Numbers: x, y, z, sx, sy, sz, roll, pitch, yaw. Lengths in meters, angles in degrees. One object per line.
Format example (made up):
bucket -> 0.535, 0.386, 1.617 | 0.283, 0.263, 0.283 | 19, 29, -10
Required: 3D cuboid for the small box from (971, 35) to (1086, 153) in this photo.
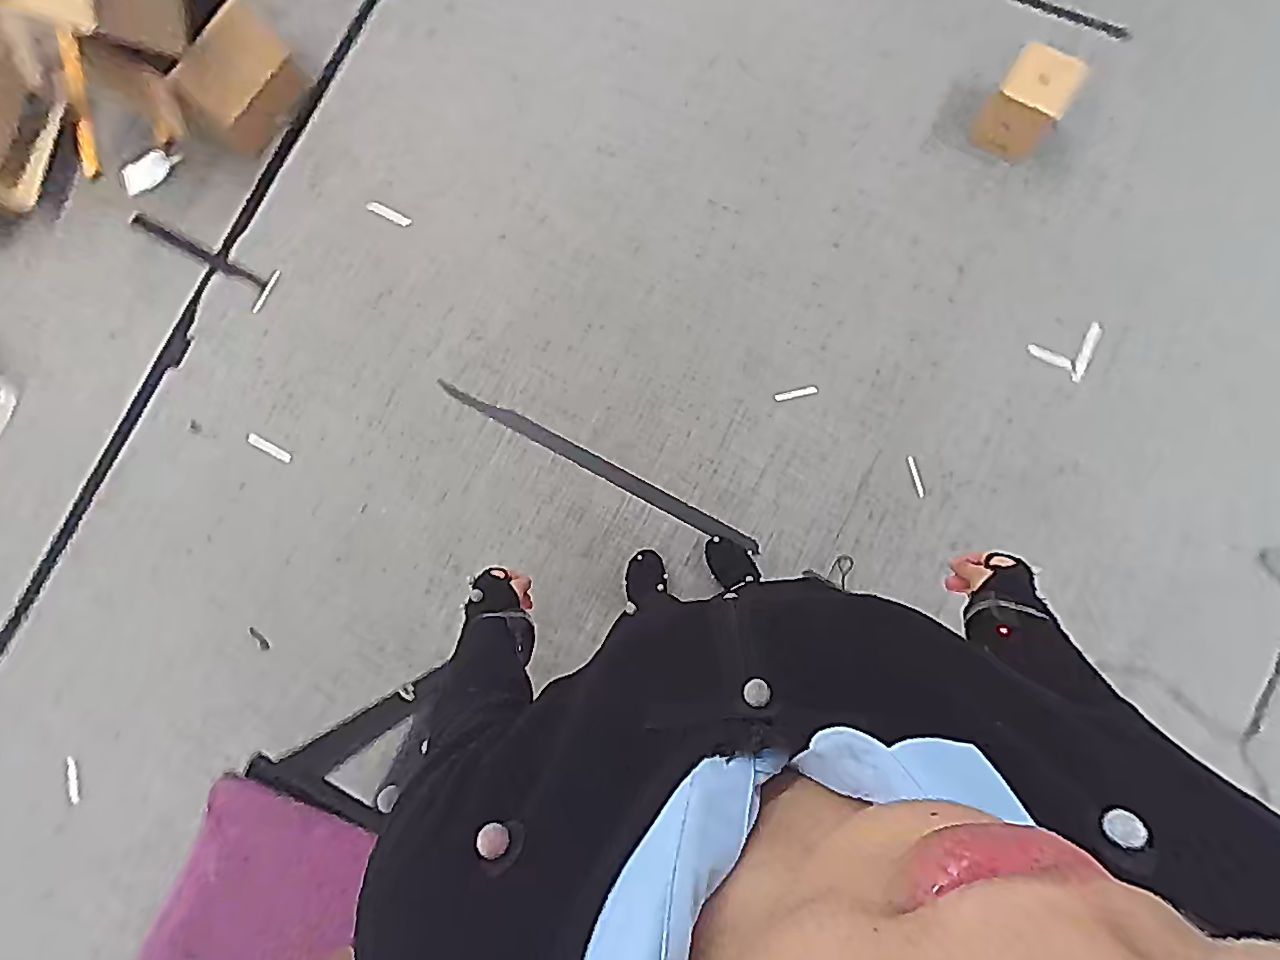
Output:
small box -> 1.055, -1.052, 1.489 | 0.168, 0.176, 0.179 | 30, 86, 6
